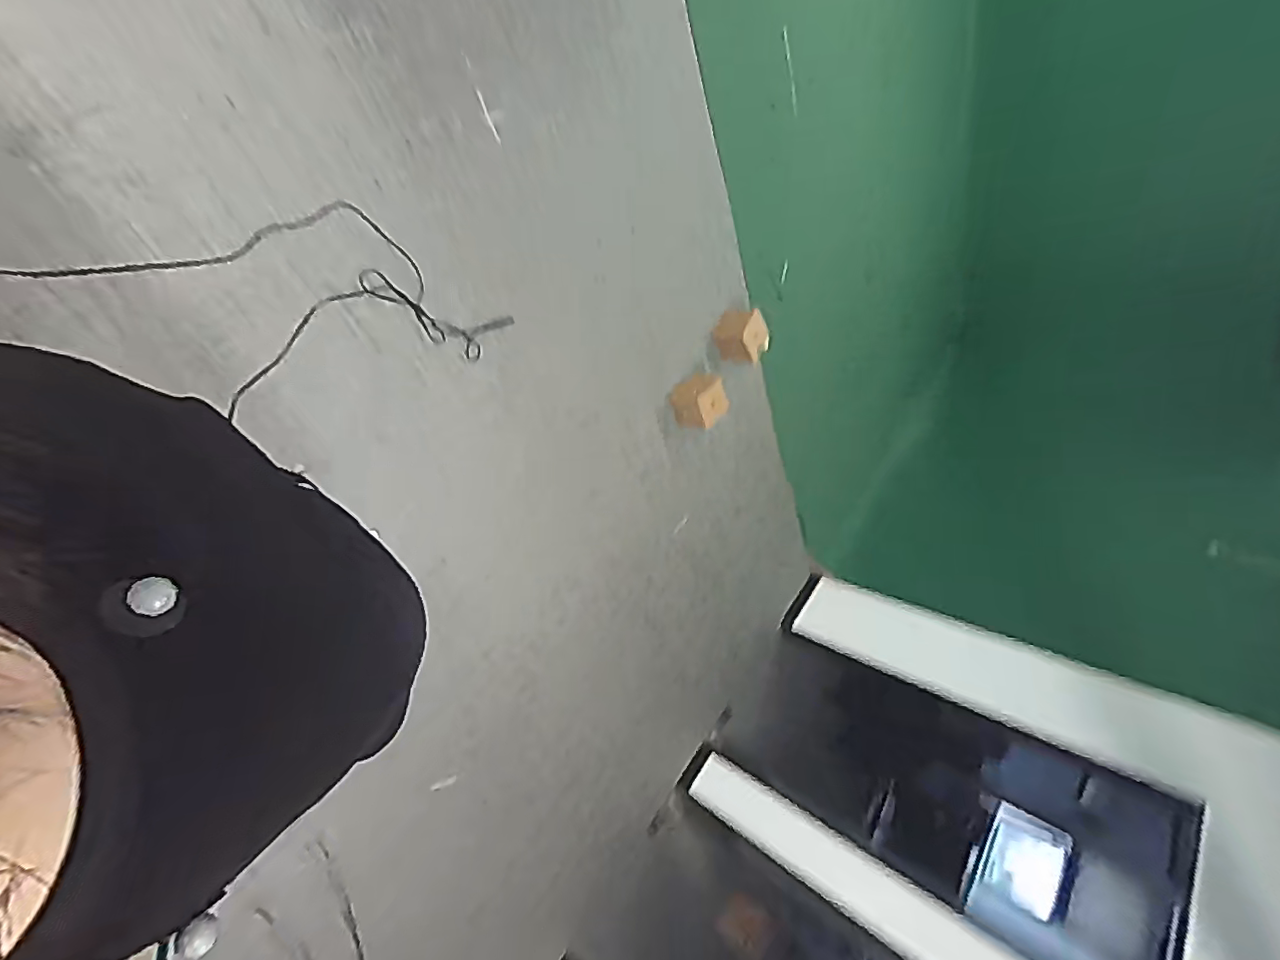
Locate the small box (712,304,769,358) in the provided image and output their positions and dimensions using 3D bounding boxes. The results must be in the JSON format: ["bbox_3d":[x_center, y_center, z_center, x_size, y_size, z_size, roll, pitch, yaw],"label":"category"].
[{"bbox_3d":[0.456,-0.677,2.461,0.179,0.176,0.168,45,69,-45],"label":"small box"}]

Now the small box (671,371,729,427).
[{"bbox_3d":[0.253,-0.356,2.342,0.179,0.176,0.168,-47,133,-26],"label":"small box"}]
